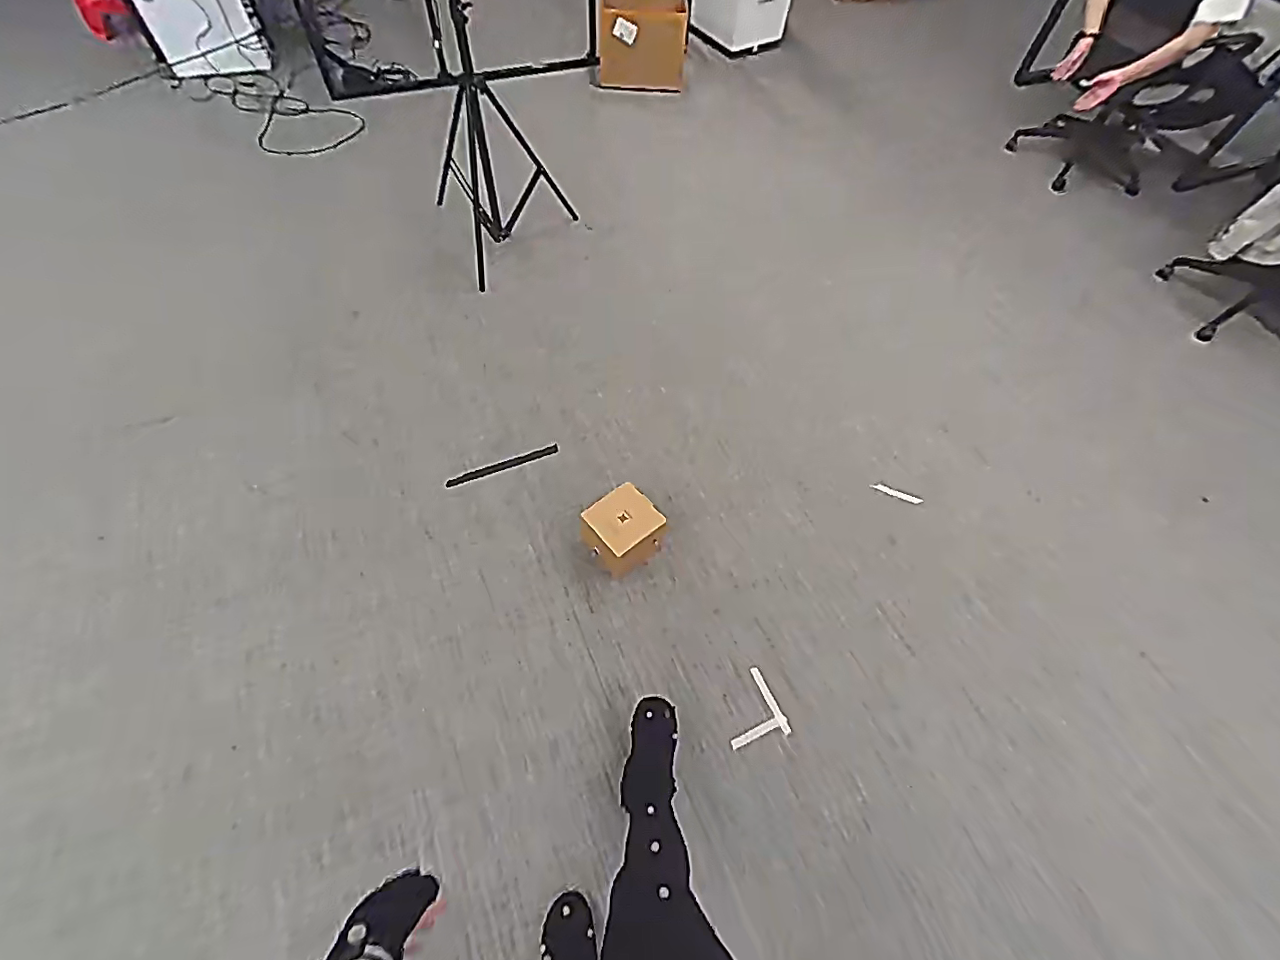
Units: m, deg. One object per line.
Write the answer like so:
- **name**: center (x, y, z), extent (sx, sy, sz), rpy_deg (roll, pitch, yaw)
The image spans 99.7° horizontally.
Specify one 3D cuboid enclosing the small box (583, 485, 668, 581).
- **small box**: center (-0.044, 0.152, 1.524), extent (0.179, 0.176, 0.168), rpy_deg (-36, 66, -22)
